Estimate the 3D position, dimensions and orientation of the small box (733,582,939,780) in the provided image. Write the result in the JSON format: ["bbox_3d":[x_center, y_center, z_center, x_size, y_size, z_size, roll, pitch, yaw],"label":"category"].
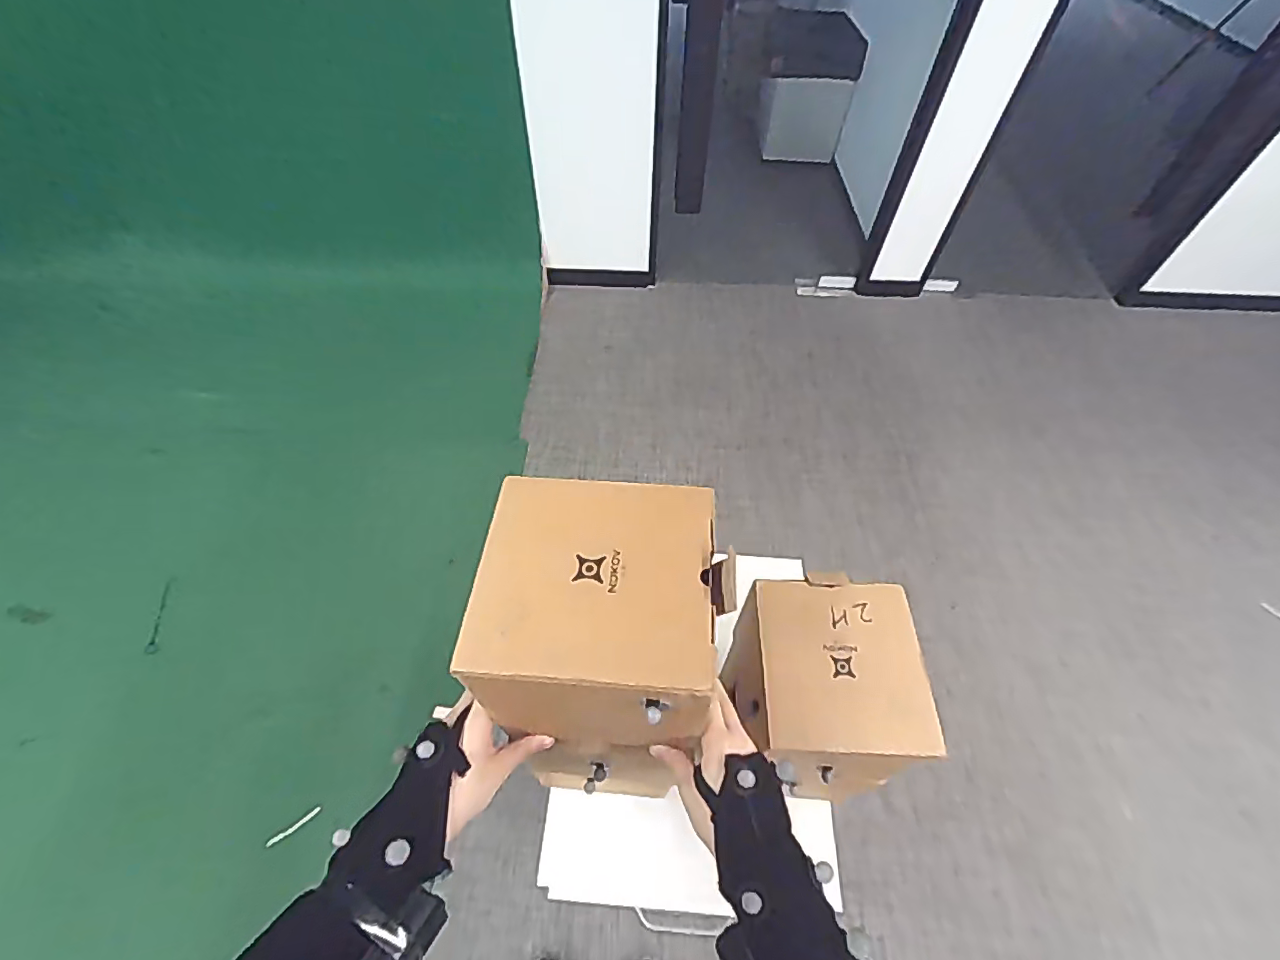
[{"bbox_3d":[0.203,0.235,0.621,0.168,0.176,0.179,3,54,0],"label":"small box"}]

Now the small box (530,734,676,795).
[{"bbox_3d":[-0.041,0.328,0.747,0.179,0.176,0.168,5,54,1],"label":"small box"}]

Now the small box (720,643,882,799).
[{"bbox_3d":[0.206,0.336,0.751,0.179,0.176,0.168,5,54,1],"label":"small box"}]

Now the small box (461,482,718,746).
[{"bbox_3d":[-0.029,0.120,0.469,0.179,0.176,0.168,4,52,2],"label":"small box"}]
